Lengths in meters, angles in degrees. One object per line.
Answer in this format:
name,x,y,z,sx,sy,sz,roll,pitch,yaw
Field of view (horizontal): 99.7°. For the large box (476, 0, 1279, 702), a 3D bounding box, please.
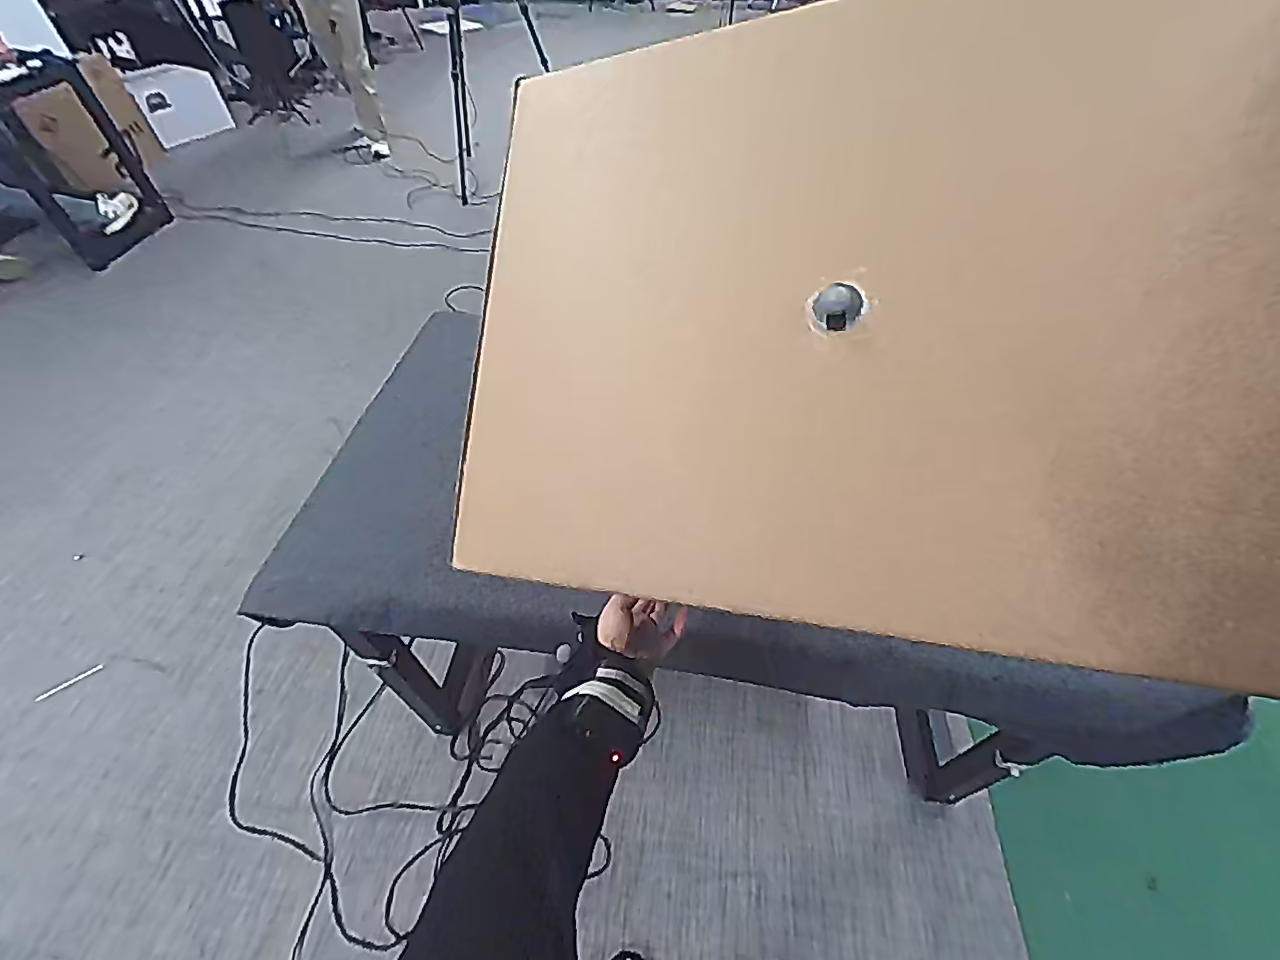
large box,0.148,-0.058,0.397,0.408,0.320,0.320,2,83,21
